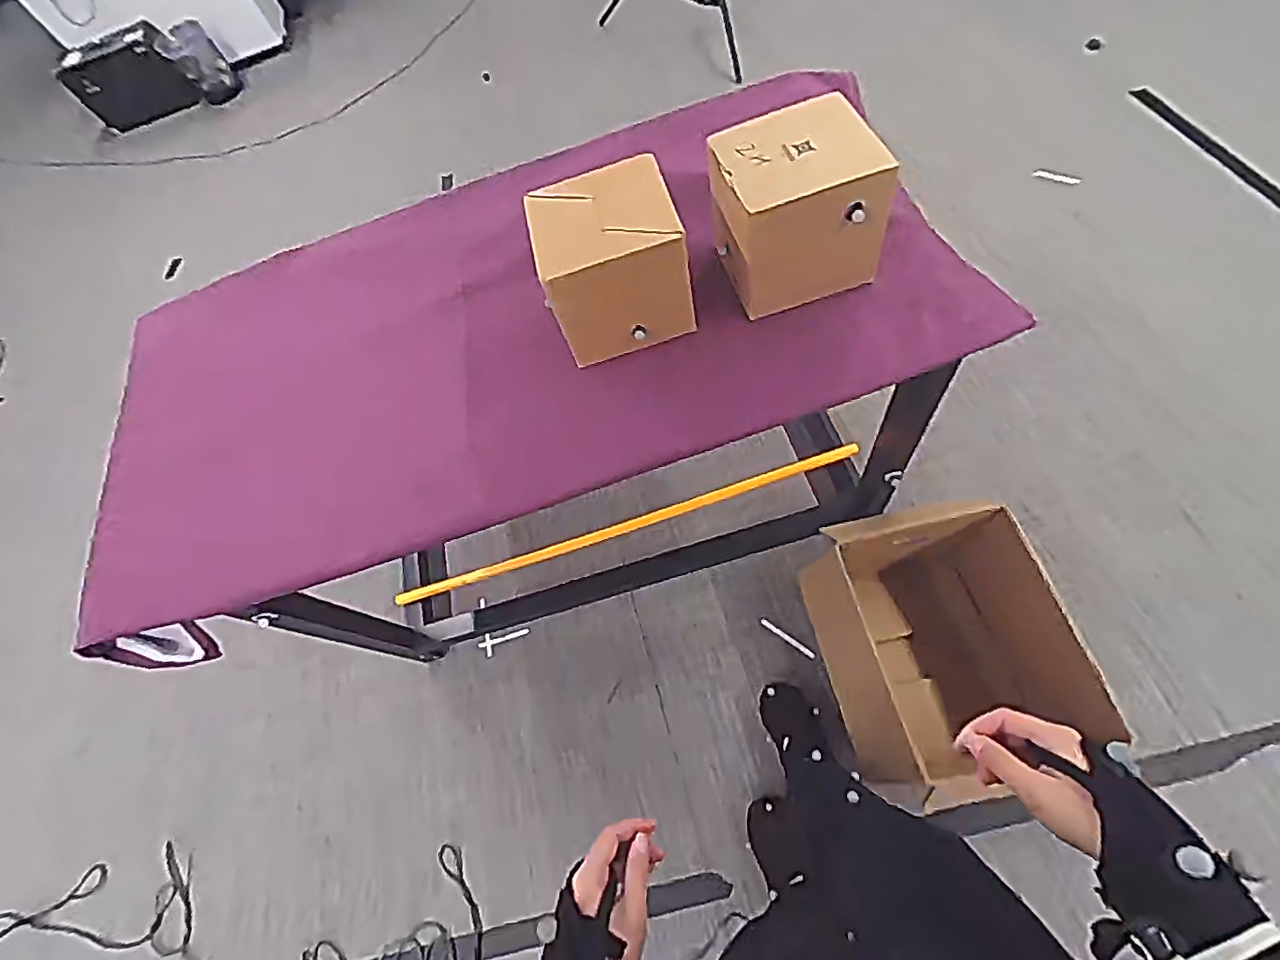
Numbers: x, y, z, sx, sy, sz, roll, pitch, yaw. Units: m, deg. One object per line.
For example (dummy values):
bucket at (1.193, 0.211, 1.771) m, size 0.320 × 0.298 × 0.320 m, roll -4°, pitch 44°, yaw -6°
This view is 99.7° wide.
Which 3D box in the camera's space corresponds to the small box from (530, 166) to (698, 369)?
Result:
small box at (-0.034, -0.285, 0.731) m, size 0.179 × 0.176 × 0.168 m, roll -17°, pitch 61°, yaw 4°

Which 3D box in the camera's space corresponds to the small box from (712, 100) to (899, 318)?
small box at (0.203, -0.346, 0.711) m, size 0.179 × 0.176 × 0.168 m, roll -17°, pitch 60°, yaw 3°
